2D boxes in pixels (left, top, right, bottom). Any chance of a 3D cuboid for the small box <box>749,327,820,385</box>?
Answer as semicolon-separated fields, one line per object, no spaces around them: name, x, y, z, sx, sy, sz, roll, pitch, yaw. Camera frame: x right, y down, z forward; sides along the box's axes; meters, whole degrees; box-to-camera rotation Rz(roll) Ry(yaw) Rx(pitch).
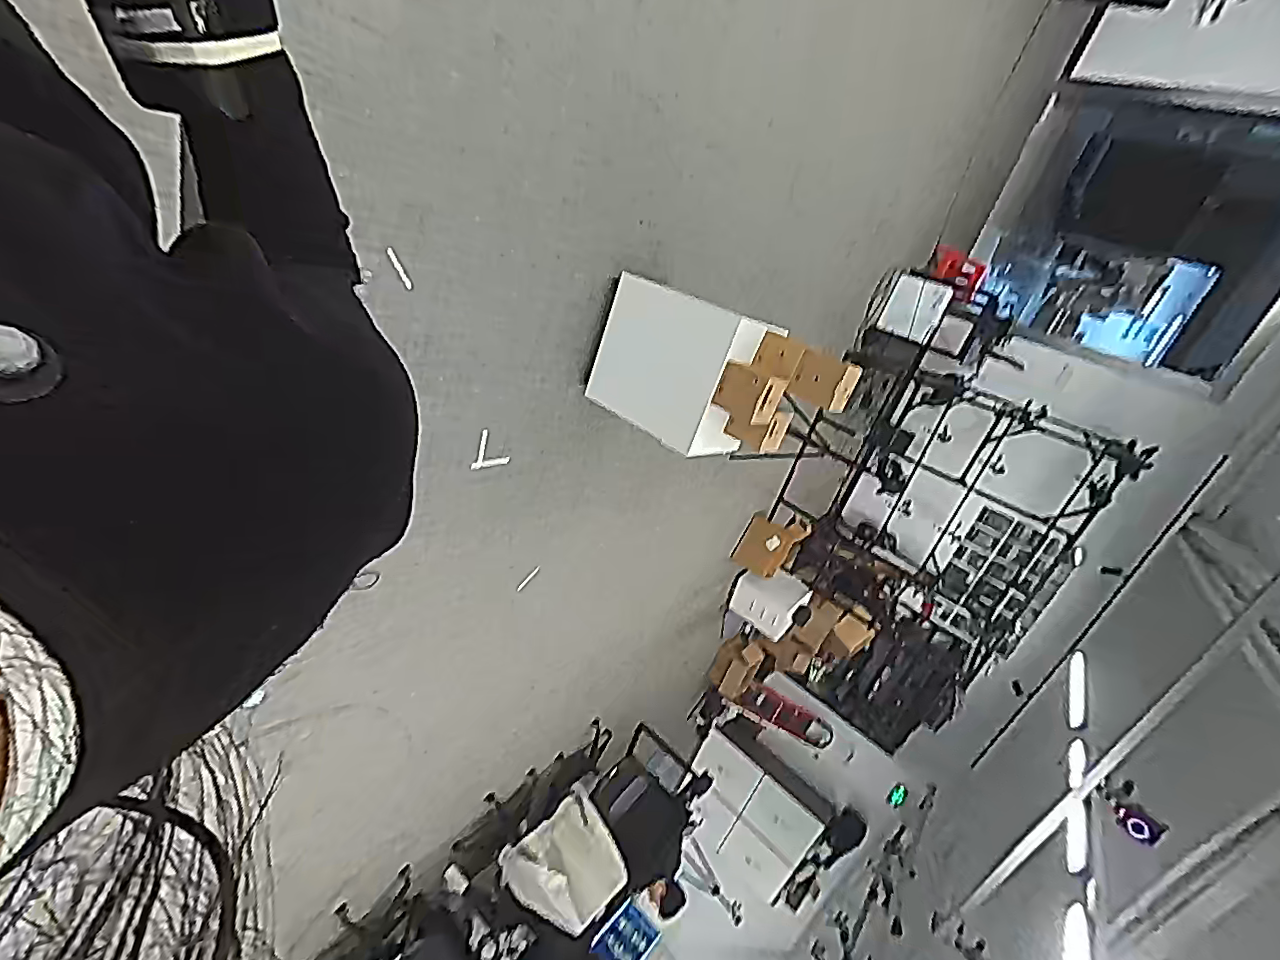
small box;0.529;-0.450;1.993;0.179;0.176;0.168;-5;123;-54

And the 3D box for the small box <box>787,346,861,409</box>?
small box;0.651;-0.366;1.920;0.179;0.176;0.168;-6;124;-53
